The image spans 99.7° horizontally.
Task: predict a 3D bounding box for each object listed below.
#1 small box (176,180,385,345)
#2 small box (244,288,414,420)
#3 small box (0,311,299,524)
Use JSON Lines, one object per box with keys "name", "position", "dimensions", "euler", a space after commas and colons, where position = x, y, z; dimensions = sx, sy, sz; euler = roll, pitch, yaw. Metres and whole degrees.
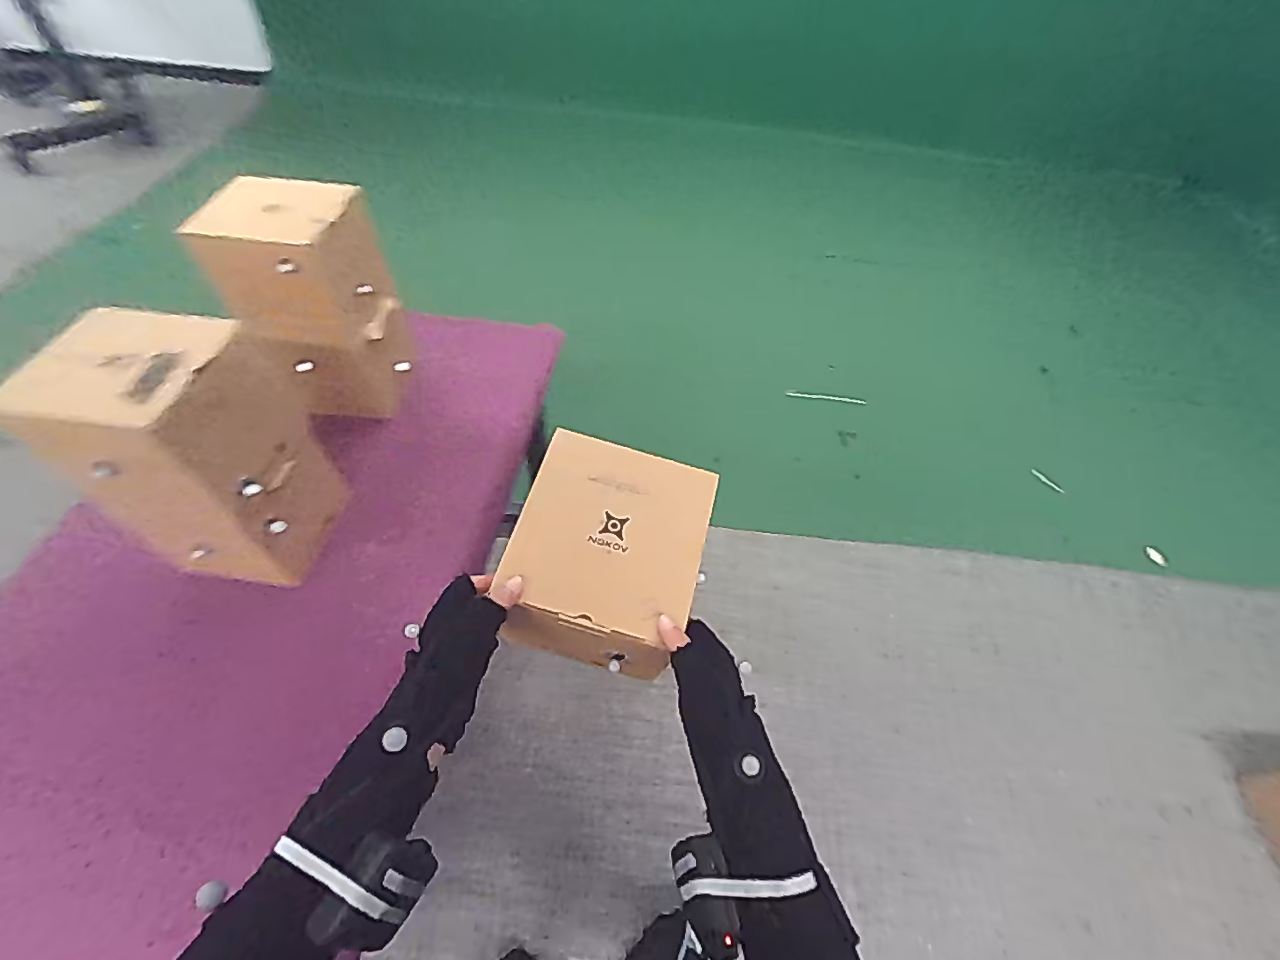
{"name": "small box", "position": [-0.517, -0.322, 0.813], "dimensions": [0.179, 0.176, 0.168], "euler": [5, 53, -1]}
{"name": "small box", "position": [-0.524, -0.222, 0.941], "dimensions": [0.179, 0.176, 0.168], "euler": [5, 54, -1]}
{"name": "small box", "position": [-0.537, -0.065, 0.616], "dimensions": [0.179, 0.176, 0.168], "euler": [6, 53, 2]}
